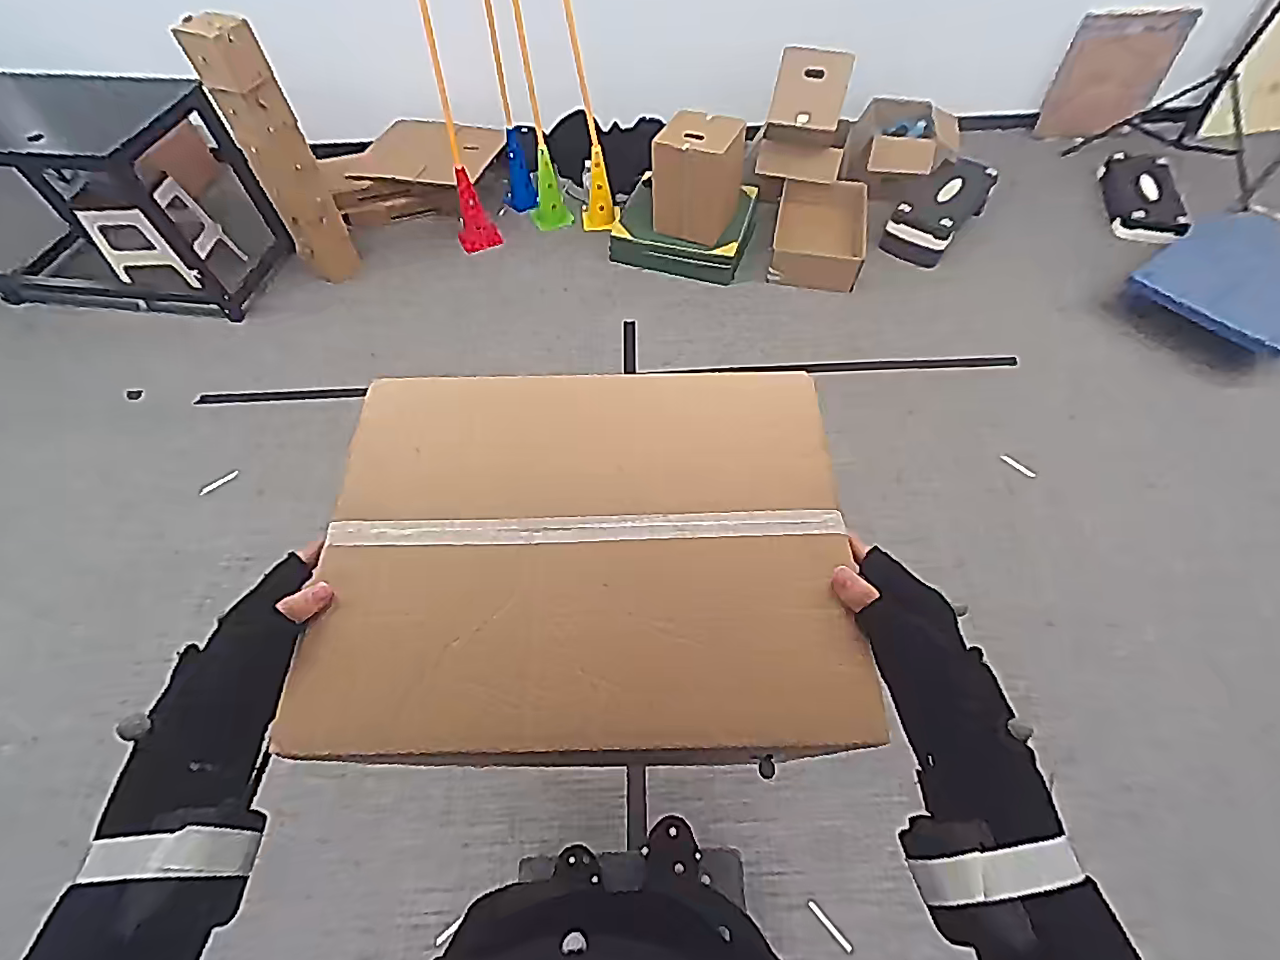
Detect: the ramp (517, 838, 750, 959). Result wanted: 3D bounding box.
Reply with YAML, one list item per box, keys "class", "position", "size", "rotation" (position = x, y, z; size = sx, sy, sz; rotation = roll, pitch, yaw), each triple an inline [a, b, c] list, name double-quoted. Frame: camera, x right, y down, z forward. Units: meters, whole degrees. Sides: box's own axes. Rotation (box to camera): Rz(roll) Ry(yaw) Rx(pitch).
- class: "ramp"
  position: [-0.002, 1.268, 1.019]
  size: [0.509, 0.206, 0.991]
  rotation: [-3, 57, -2]

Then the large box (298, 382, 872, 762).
- class: "large box"
  position: [-0.038, 0.118, 0.570]
  size: [0.408, 0.320, 0.320]
  rotation: [-1, 61, 0]
